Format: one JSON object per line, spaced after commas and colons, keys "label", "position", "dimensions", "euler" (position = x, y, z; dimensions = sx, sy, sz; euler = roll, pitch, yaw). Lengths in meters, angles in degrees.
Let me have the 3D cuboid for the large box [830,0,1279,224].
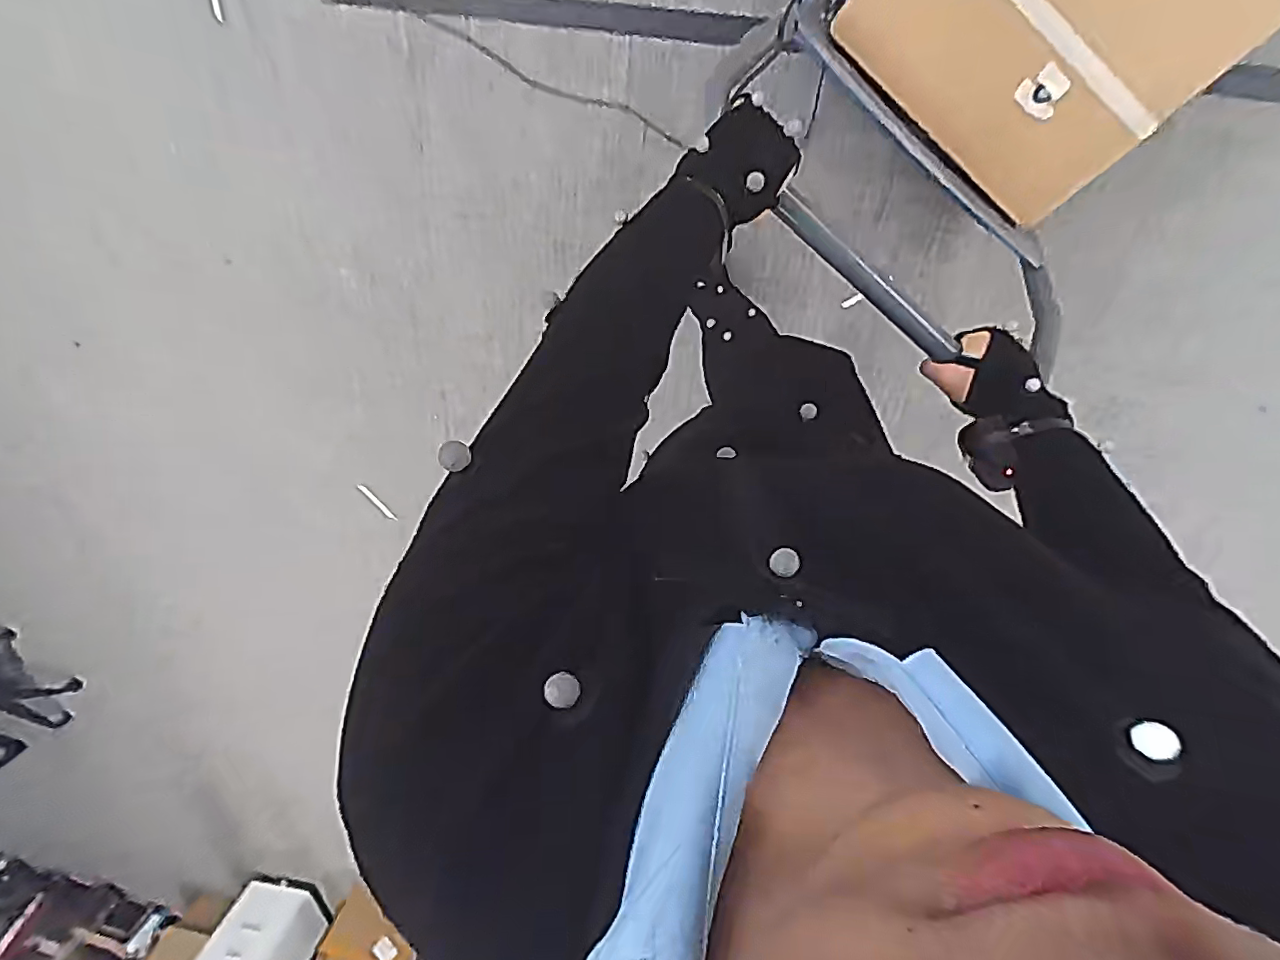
{"label": "large box", "position": [0.538, -0.663, 0.772], "dimensions": [0.408, 0.320, 0.320], "euler": [37, 136, -10]}
